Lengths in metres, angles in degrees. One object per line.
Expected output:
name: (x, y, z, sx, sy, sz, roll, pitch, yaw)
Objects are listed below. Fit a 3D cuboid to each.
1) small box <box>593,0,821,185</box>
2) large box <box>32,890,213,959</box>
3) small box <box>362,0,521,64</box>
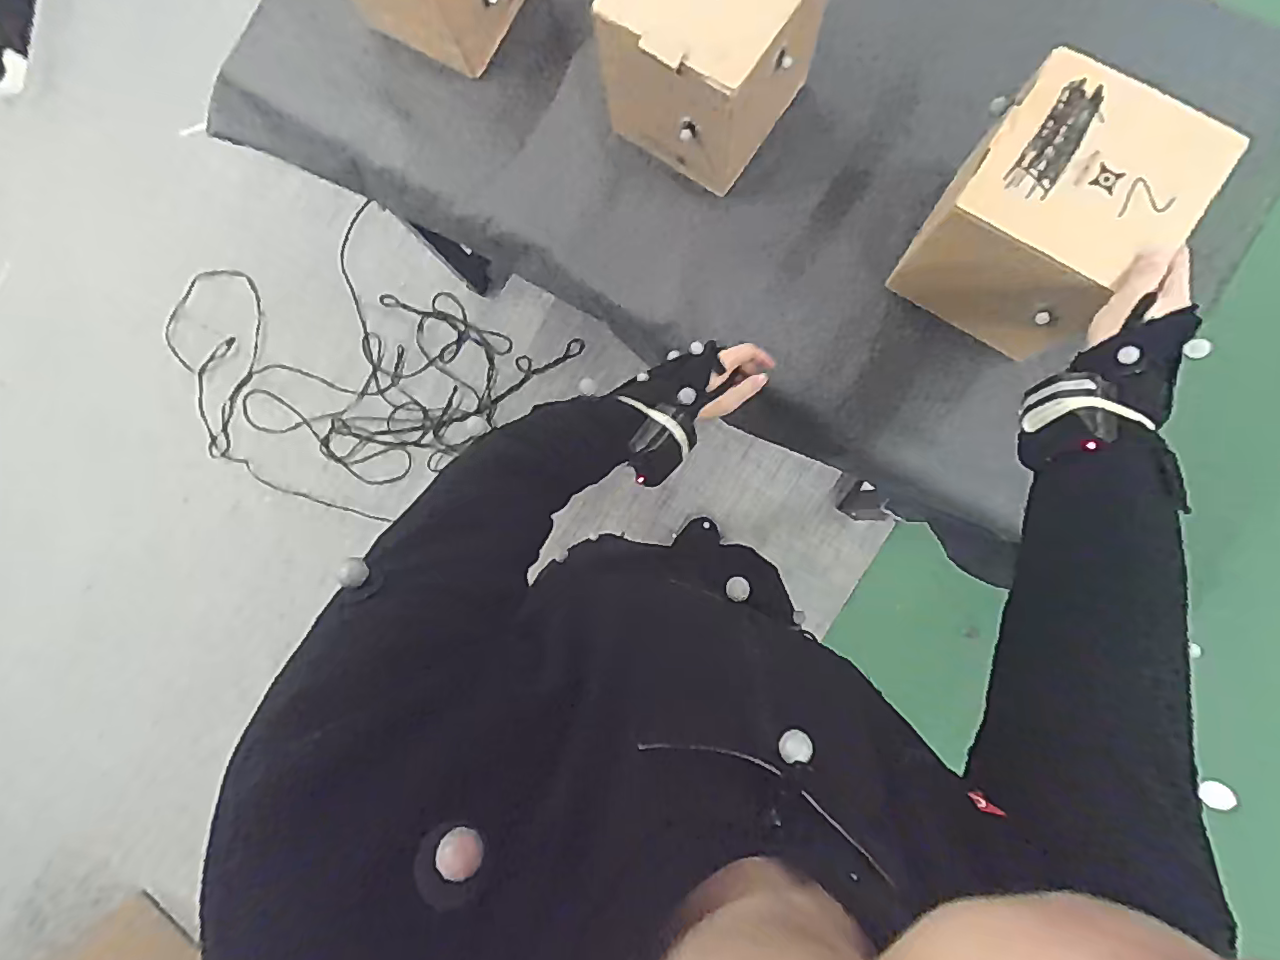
small box: (0.077, -0.463, 0.575, 0.168, 0.176, 0.179, 35, 90, 5)
large box: (-1.287, 1.320, 1.282, 0.408, 0.320, 0.320, 37, 91, 8)
small box: (-0.247, -0.633, 0.616, 0.179, 0.176, 0.168, 30, 90, 6)
